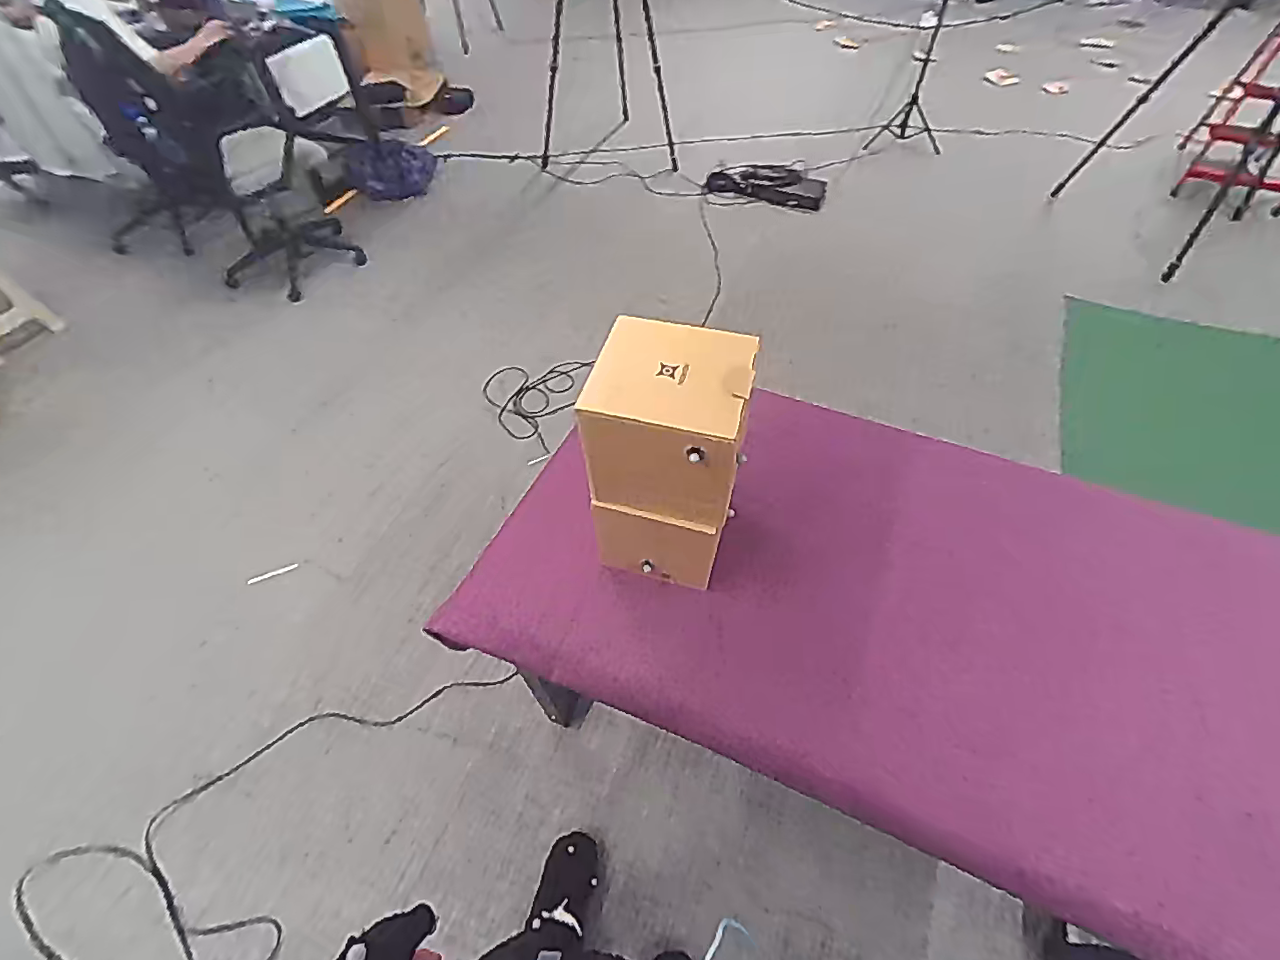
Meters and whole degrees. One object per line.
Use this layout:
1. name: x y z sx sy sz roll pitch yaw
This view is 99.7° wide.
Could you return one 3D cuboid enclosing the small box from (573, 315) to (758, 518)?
1. small box: 0.035 -0.073 0.661 0.179 0.176 0.168 12 55 10
